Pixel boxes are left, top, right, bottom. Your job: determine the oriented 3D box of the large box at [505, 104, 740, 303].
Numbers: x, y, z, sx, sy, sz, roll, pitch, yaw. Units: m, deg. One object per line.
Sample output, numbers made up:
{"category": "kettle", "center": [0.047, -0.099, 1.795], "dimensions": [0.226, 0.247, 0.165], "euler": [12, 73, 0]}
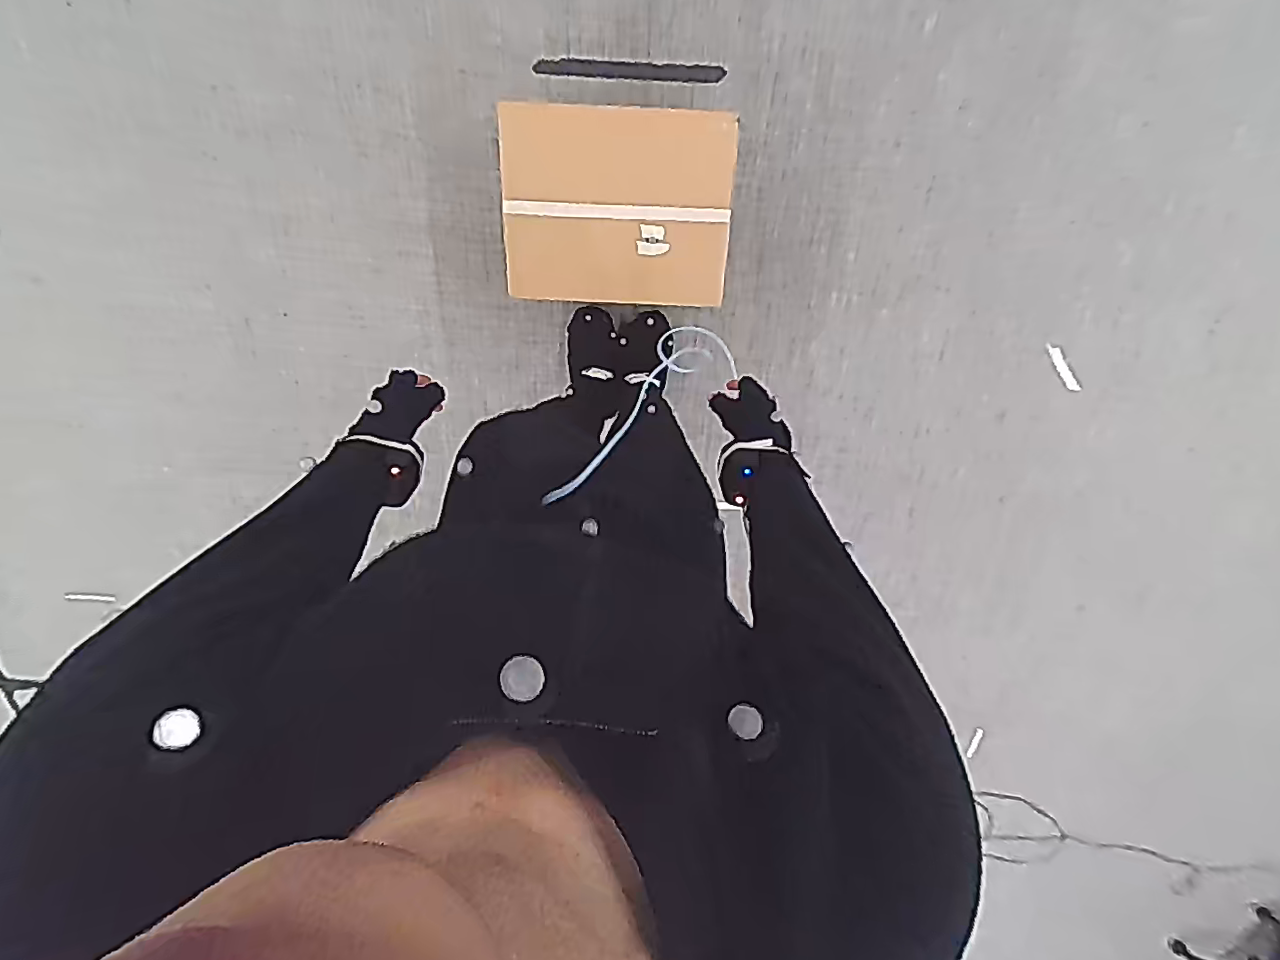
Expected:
{"category": "large box", "center": [-0.035, -0.544, 1.104], "dimensions": [0.408, 0.320, 0.320], "euler": [2, 115, -1]}
